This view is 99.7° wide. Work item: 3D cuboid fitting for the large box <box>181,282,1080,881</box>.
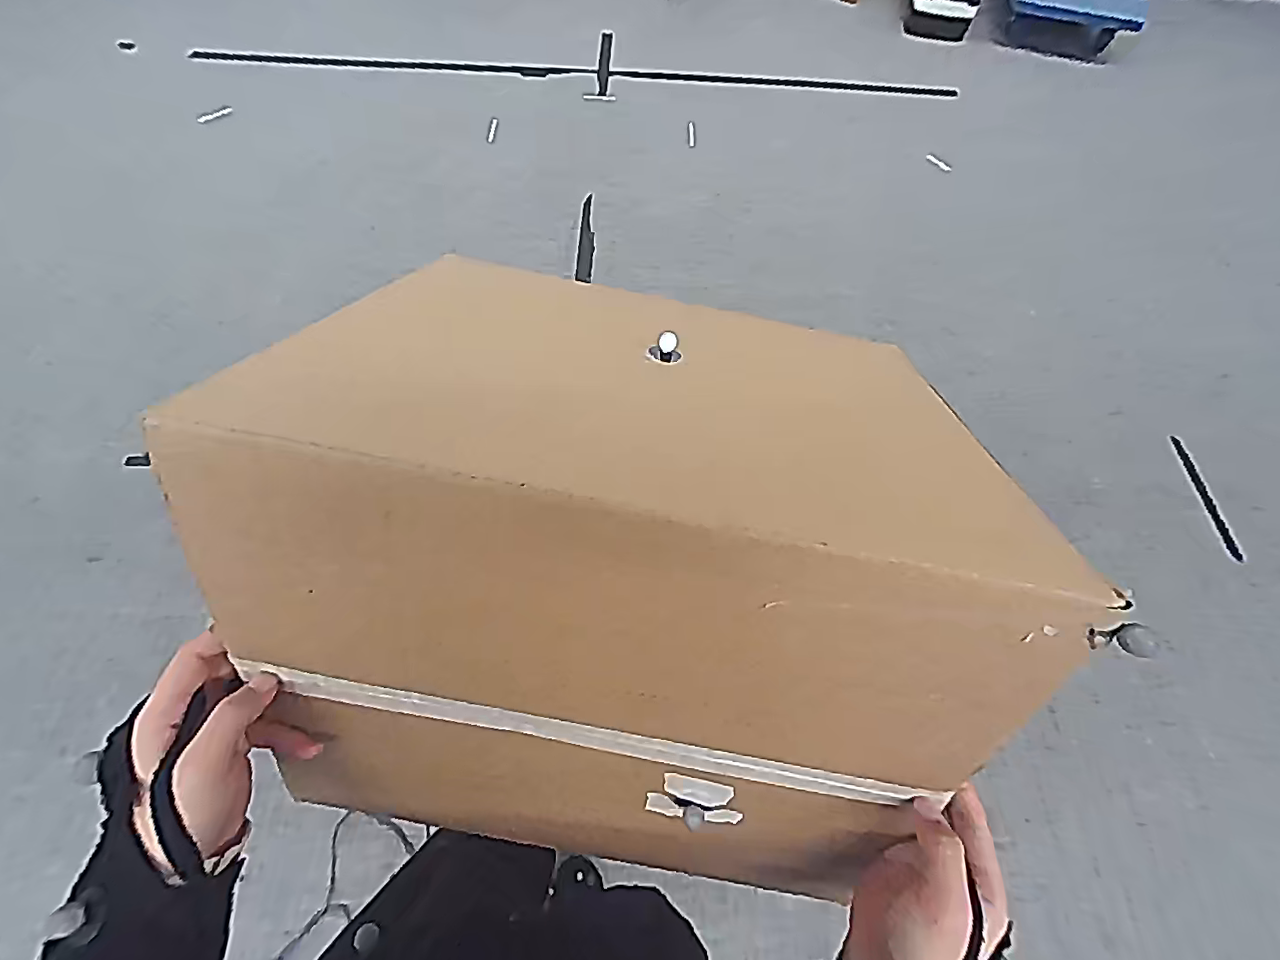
[{"bbox_3d":[-0.014,0.057,0.437,0.408,0.320,0.320,10,35,-1],"label":"large box"}]
